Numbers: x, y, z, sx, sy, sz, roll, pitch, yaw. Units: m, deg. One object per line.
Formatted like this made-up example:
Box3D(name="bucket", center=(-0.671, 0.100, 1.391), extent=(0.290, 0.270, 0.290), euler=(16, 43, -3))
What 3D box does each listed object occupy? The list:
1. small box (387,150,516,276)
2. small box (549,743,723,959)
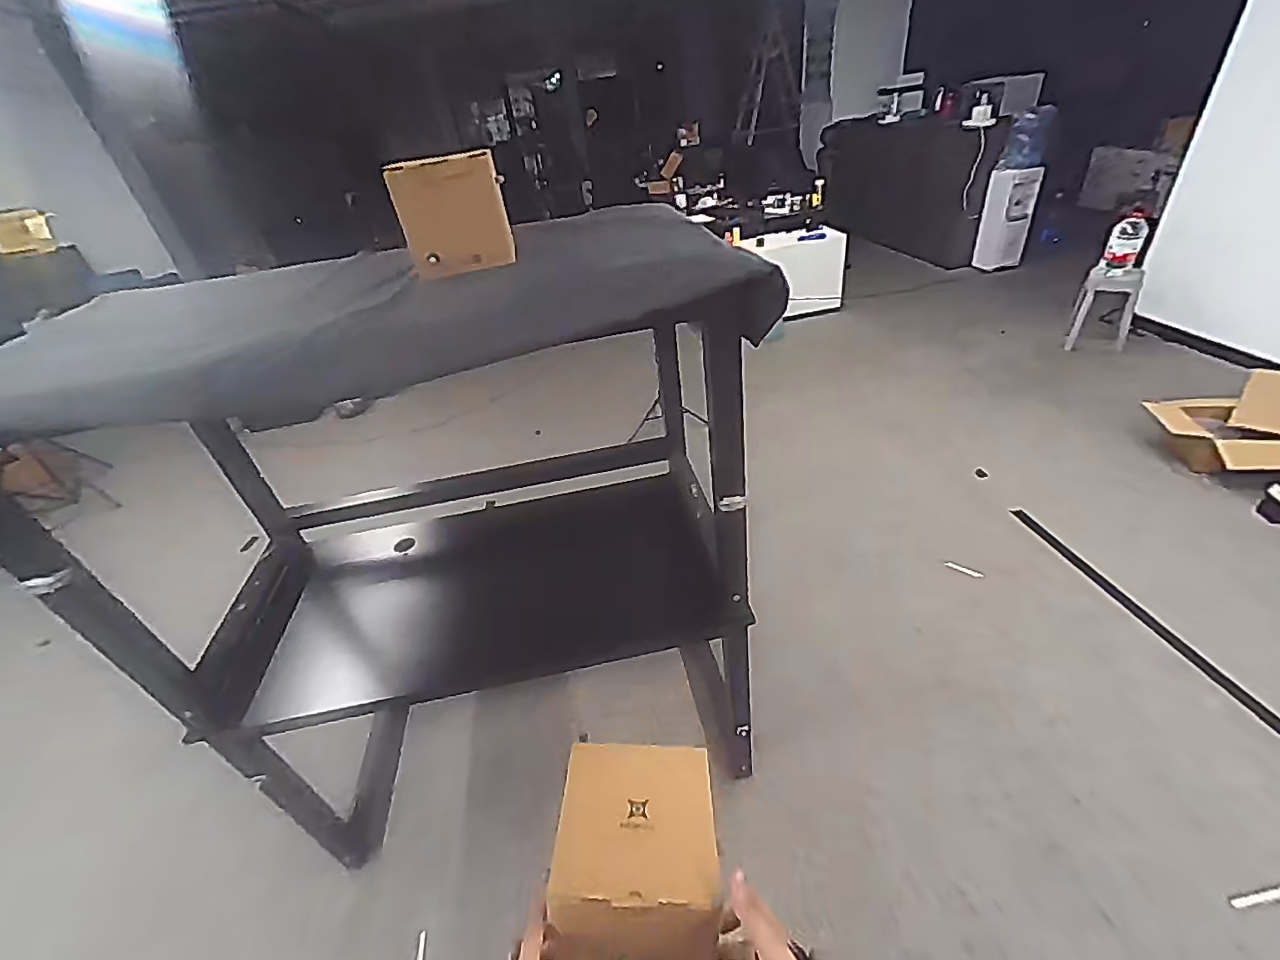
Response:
Box3D(name="small box", center=(-0.320, -0.471, 0.959), extent=(0.168, 0.176, 0.179), euler=(-12, 35, -5))
Box3D(name="small box", center=(-0.006, 0.431, 0.607), extent=(0.168, 0.176, 0.179), euler=(2, 23, 0))
